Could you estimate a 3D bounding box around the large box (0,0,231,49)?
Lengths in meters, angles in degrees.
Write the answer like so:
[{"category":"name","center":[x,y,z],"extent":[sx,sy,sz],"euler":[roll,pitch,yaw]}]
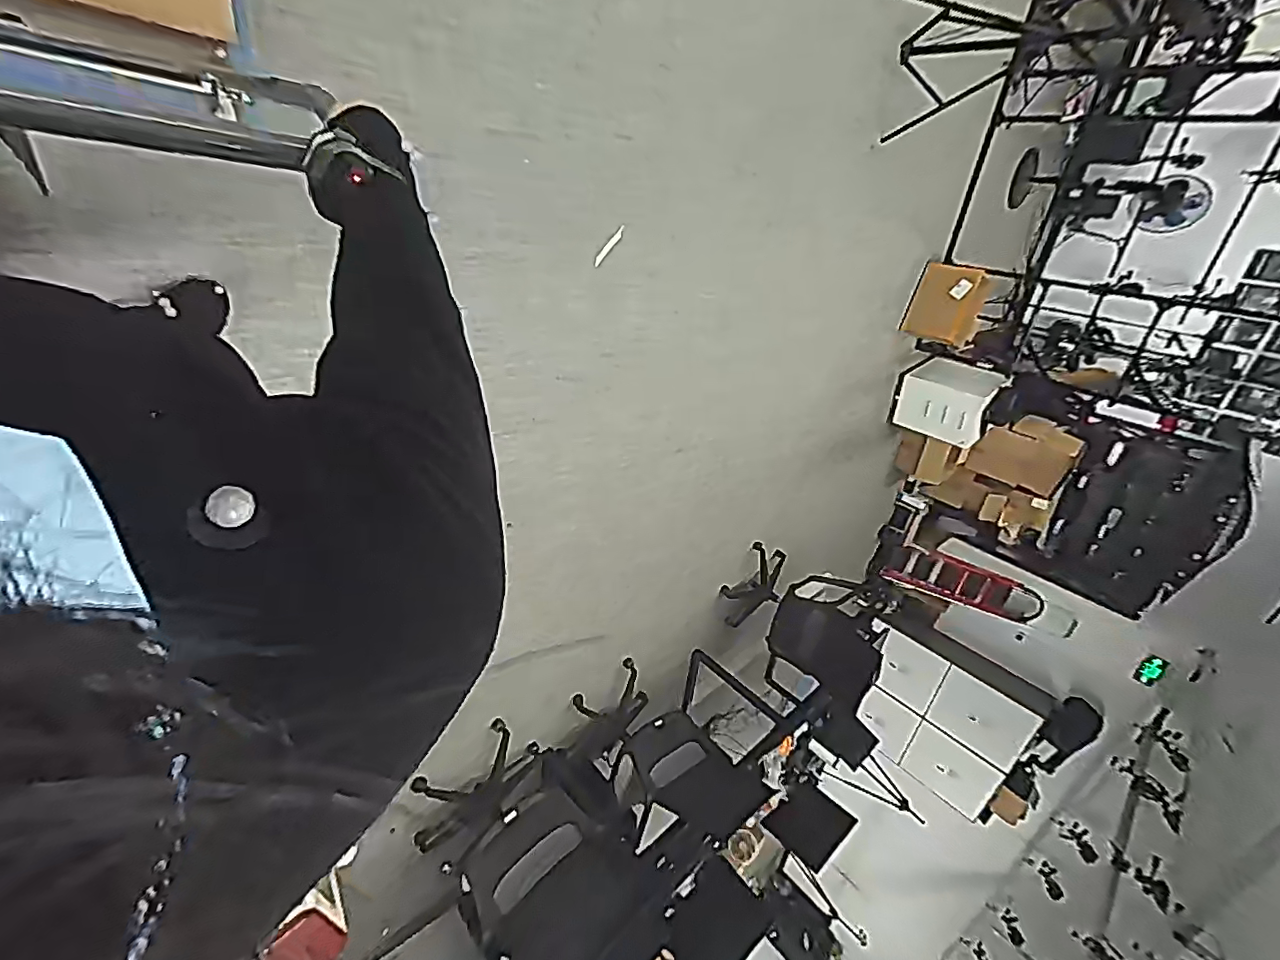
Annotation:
[{"category":"large box","center":[-0.751,-0.722,0.588],"extent":[0.408,0.320,0.320],"euler":[-17,128,-42]}]
